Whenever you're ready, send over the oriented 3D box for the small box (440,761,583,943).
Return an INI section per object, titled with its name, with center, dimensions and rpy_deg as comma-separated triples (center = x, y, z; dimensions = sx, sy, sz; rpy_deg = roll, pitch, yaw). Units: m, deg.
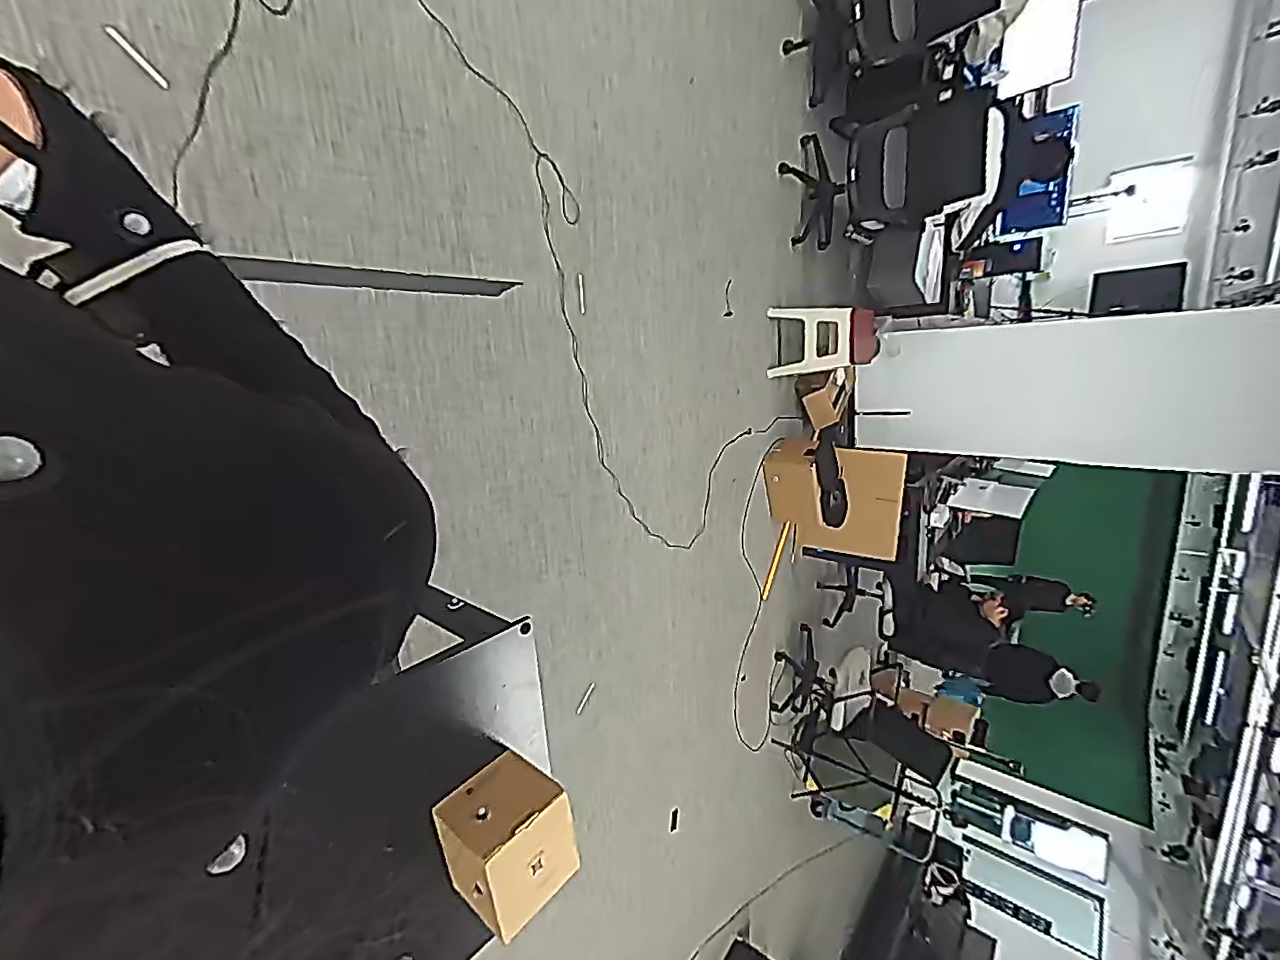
[small box]
center = -0.226, 0.627, 0.944
dimensions = 0.168, 0.176, 0.179
rpy_deg = -23, 114, -44
